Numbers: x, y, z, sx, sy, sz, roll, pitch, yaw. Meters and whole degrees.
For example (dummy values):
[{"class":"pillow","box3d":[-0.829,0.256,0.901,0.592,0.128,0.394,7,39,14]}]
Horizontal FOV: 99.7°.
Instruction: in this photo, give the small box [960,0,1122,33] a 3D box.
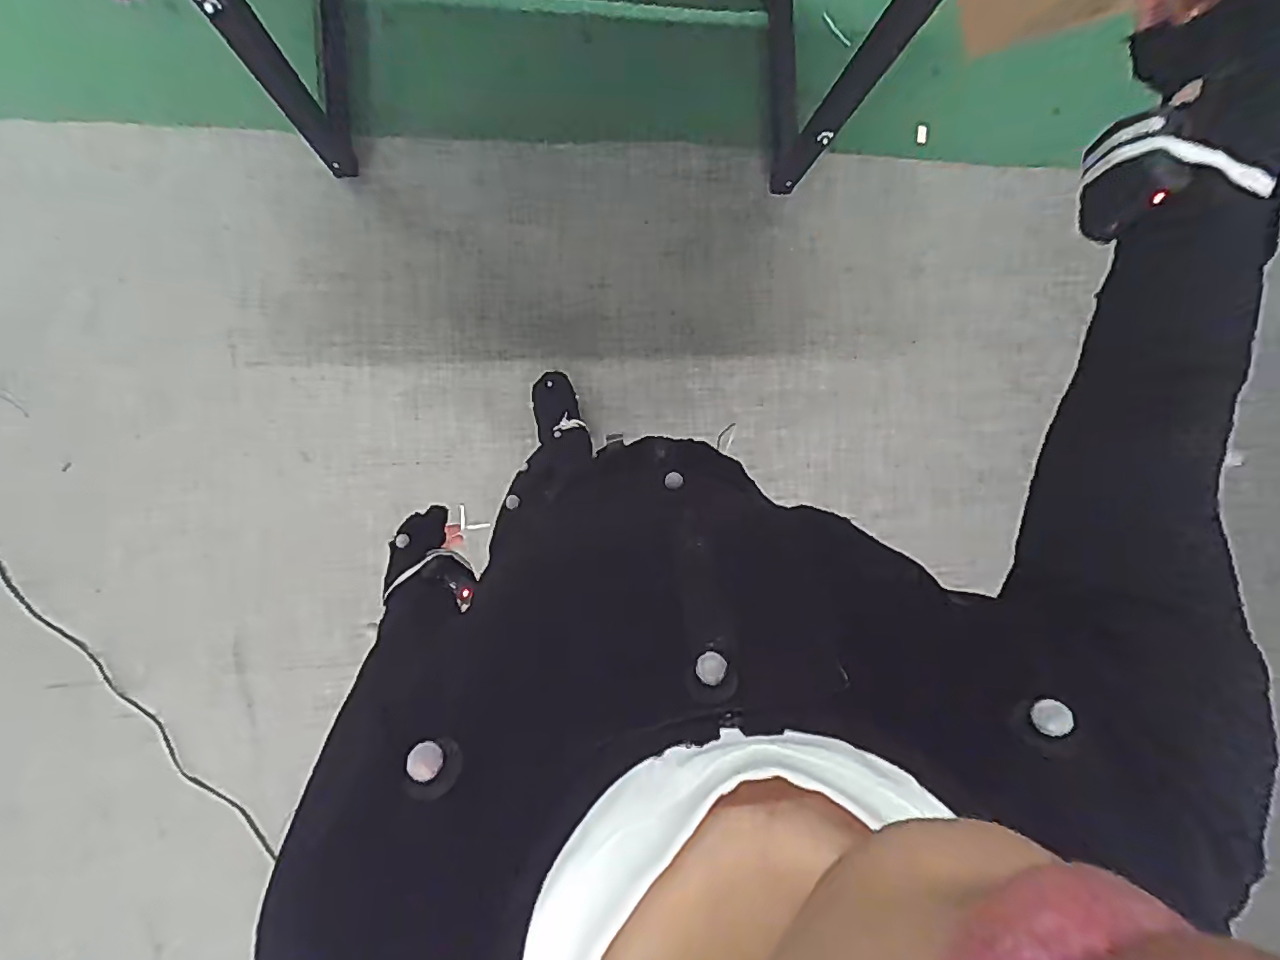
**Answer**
[{"class":"small box","box3d":[0.360,-0.473,0.397,0.168,0.176,0.179,-17,108,-3]}]
